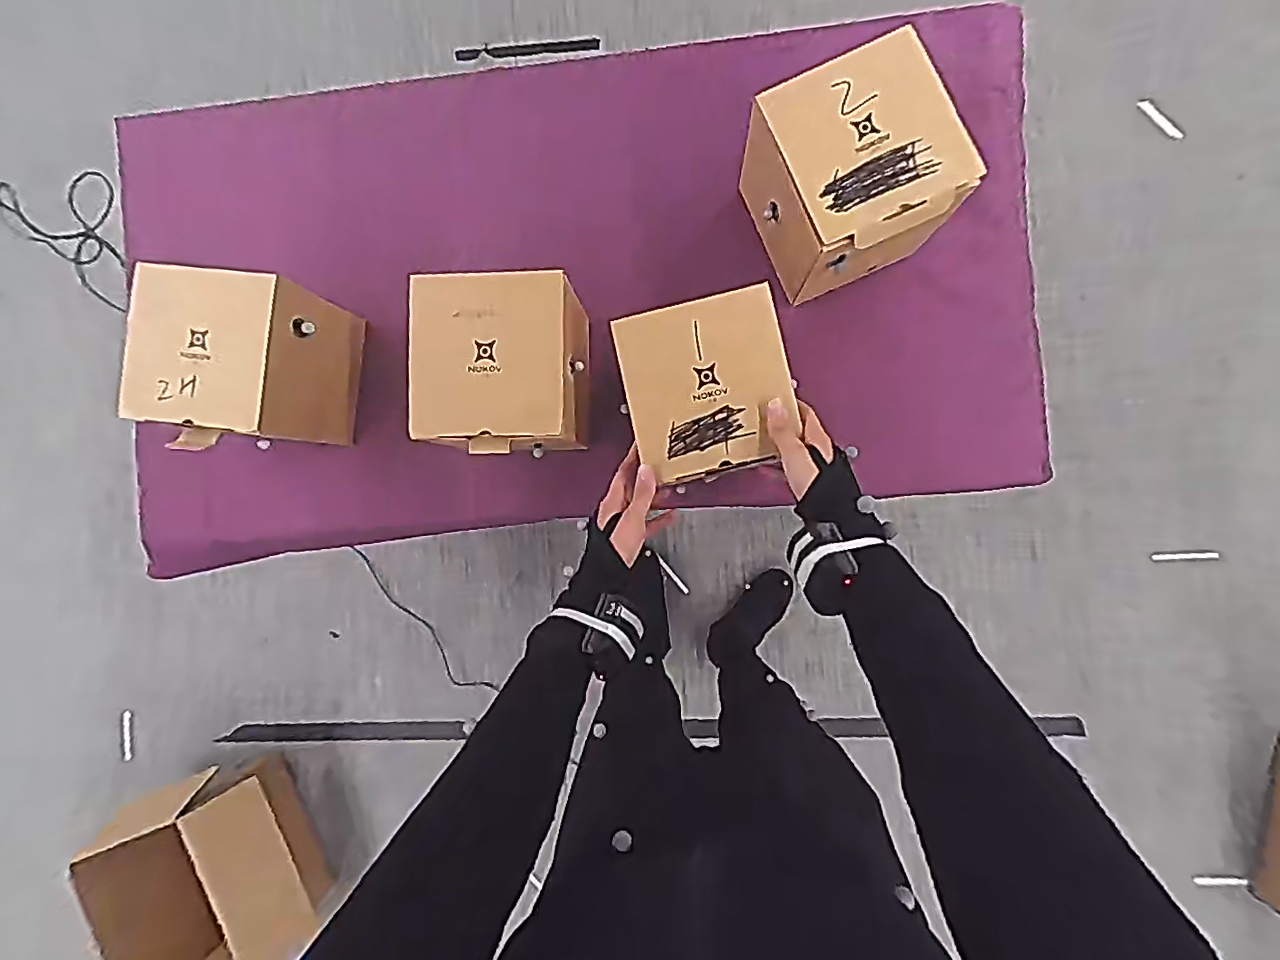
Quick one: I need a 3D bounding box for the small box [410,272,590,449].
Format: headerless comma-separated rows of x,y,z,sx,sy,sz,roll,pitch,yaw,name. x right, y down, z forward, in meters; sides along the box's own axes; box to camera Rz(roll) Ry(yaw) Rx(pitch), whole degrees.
-0.152,-0.127,0.641,0.168,0.176,0.179,0,89,4,small box

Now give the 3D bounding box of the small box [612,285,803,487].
0.074,-0.093,0.621,0.168,0.176,0.179,-12,87,4,small box

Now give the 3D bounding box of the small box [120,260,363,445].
-0.469,-0.143,0.663,0.168,0.176,0.179,7,90,5,small box
